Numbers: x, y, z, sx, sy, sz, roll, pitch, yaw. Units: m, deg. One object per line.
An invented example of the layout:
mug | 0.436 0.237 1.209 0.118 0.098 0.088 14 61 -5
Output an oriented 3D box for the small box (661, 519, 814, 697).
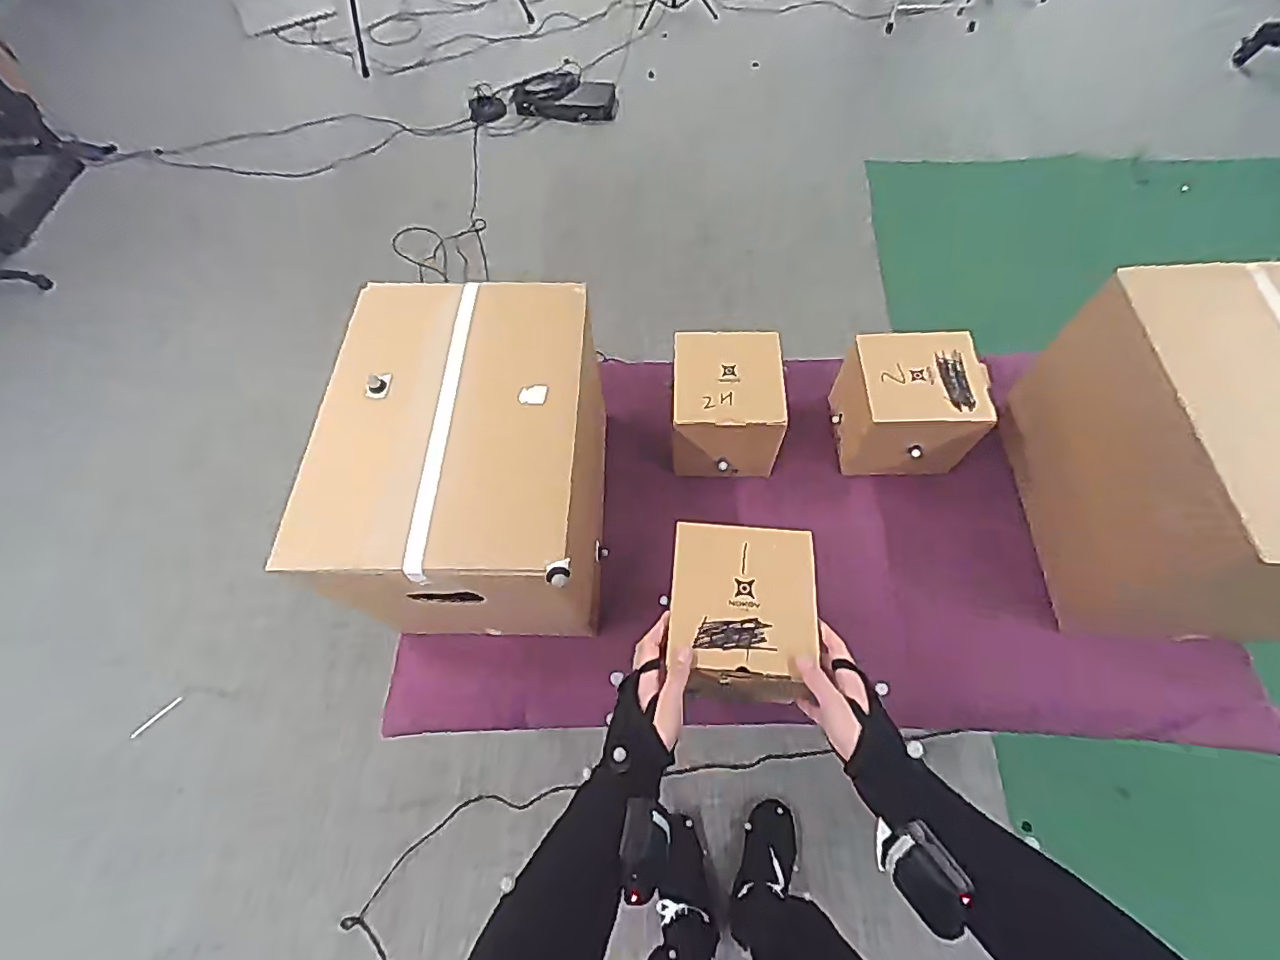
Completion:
small box | 0.119 0.168 0.685 0.168 0.176 0.179 4 61 5

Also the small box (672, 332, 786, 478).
small box | 0.137 -0.120 0.885 0.168 0.176 0.179 0 62 5

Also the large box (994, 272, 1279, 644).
large box | 0.757 -0.016 0.725 0.320 0.320 0.408 1 63 5
